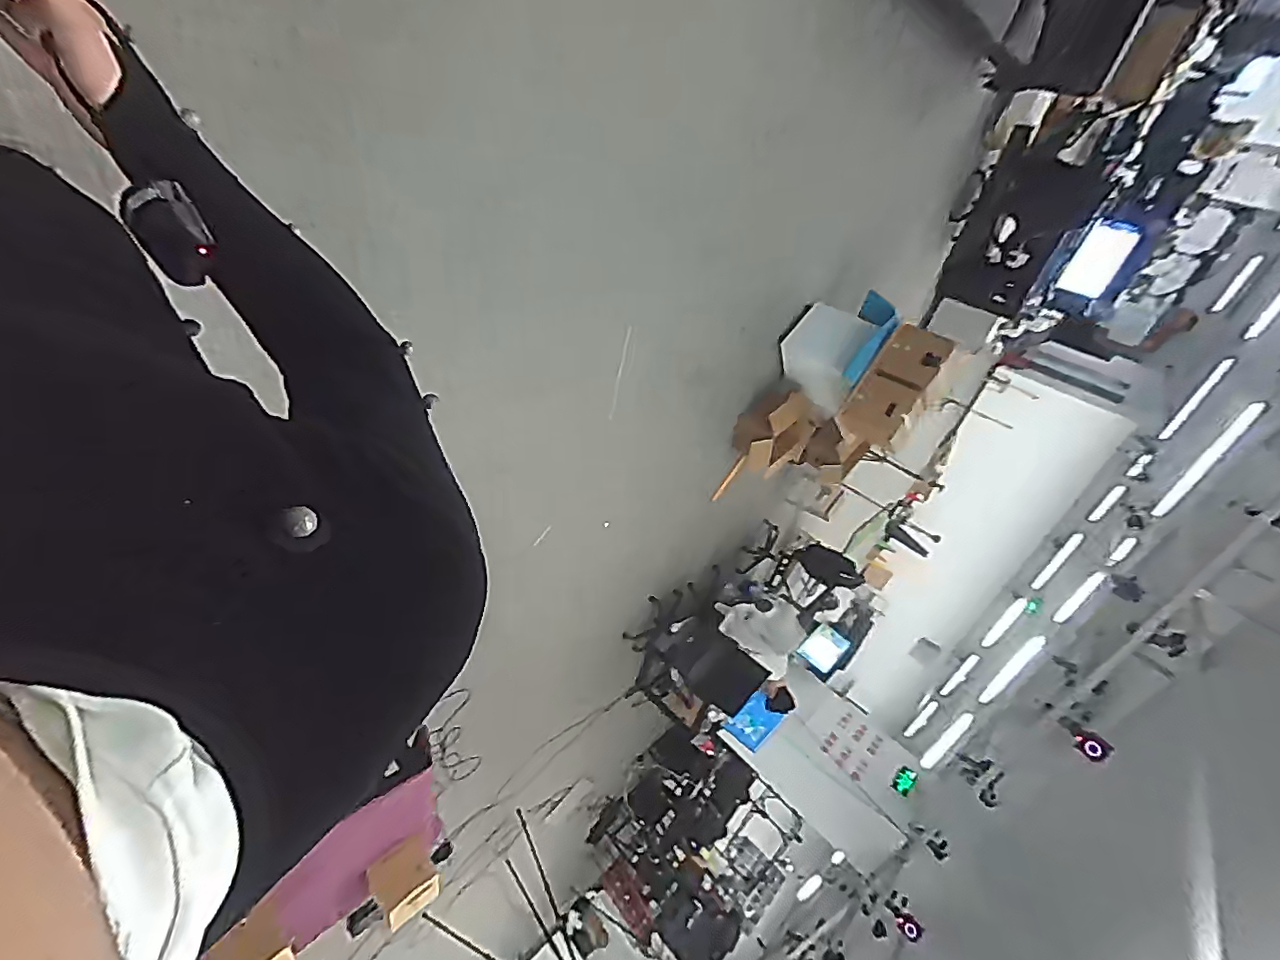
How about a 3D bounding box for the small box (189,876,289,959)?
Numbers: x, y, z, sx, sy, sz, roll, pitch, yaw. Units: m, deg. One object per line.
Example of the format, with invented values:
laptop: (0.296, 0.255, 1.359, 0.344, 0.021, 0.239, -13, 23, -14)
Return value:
small box: (-1.051, 1.198, 1.422, 0.168, 0.176, 0.179, -21, 139, -43)
